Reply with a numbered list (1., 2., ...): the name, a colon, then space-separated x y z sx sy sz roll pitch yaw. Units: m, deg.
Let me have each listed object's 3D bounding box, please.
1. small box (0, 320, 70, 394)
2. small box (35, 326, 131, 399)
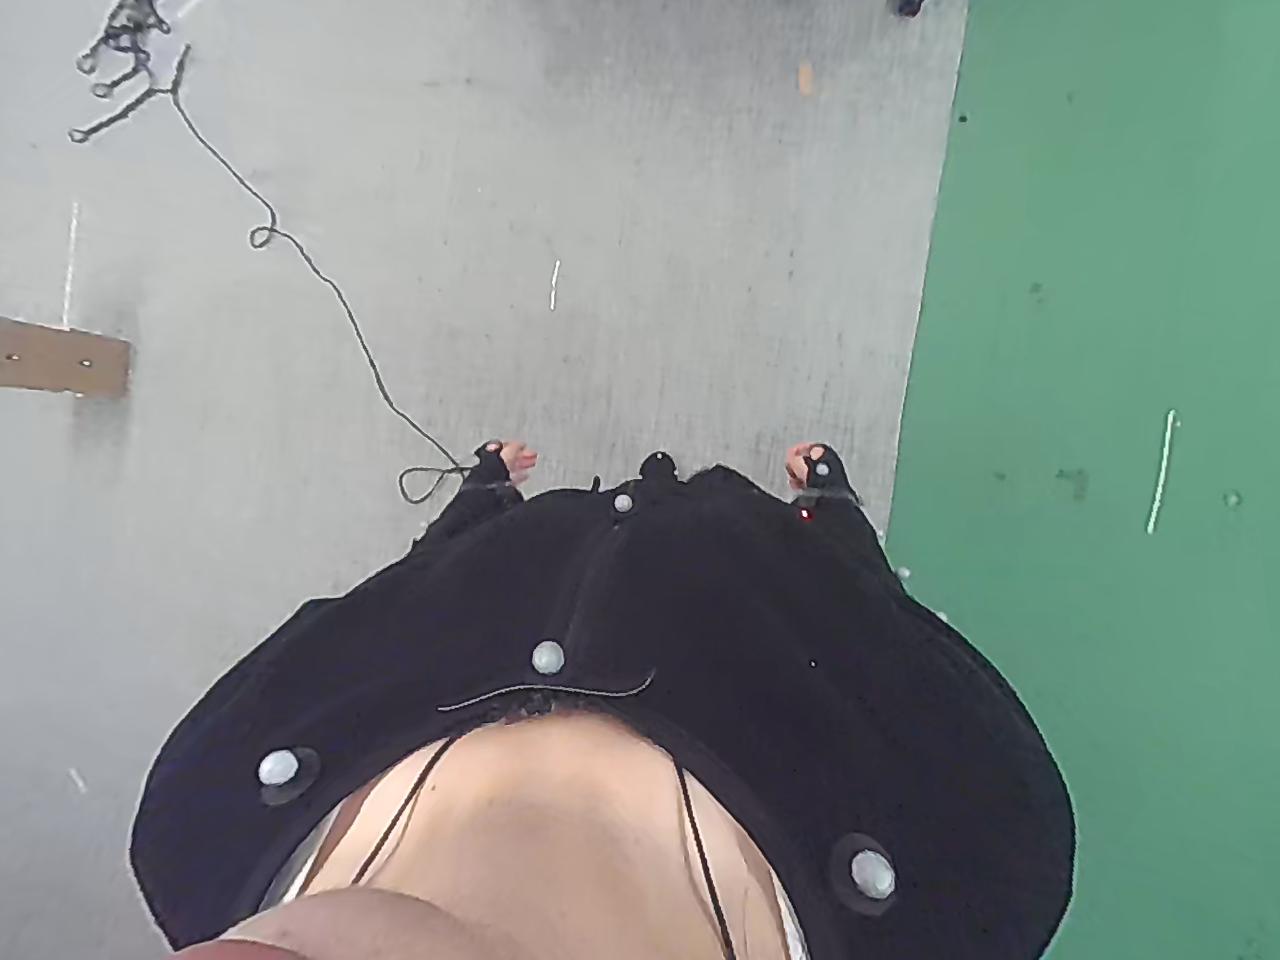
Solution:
1. small box: -1.665 -0.326 1.419 0.168 0.176 0.179 7 91 4
2. small box: -1.649 -0.339 1.583 0.168 0.176 0.179 7 91 5
